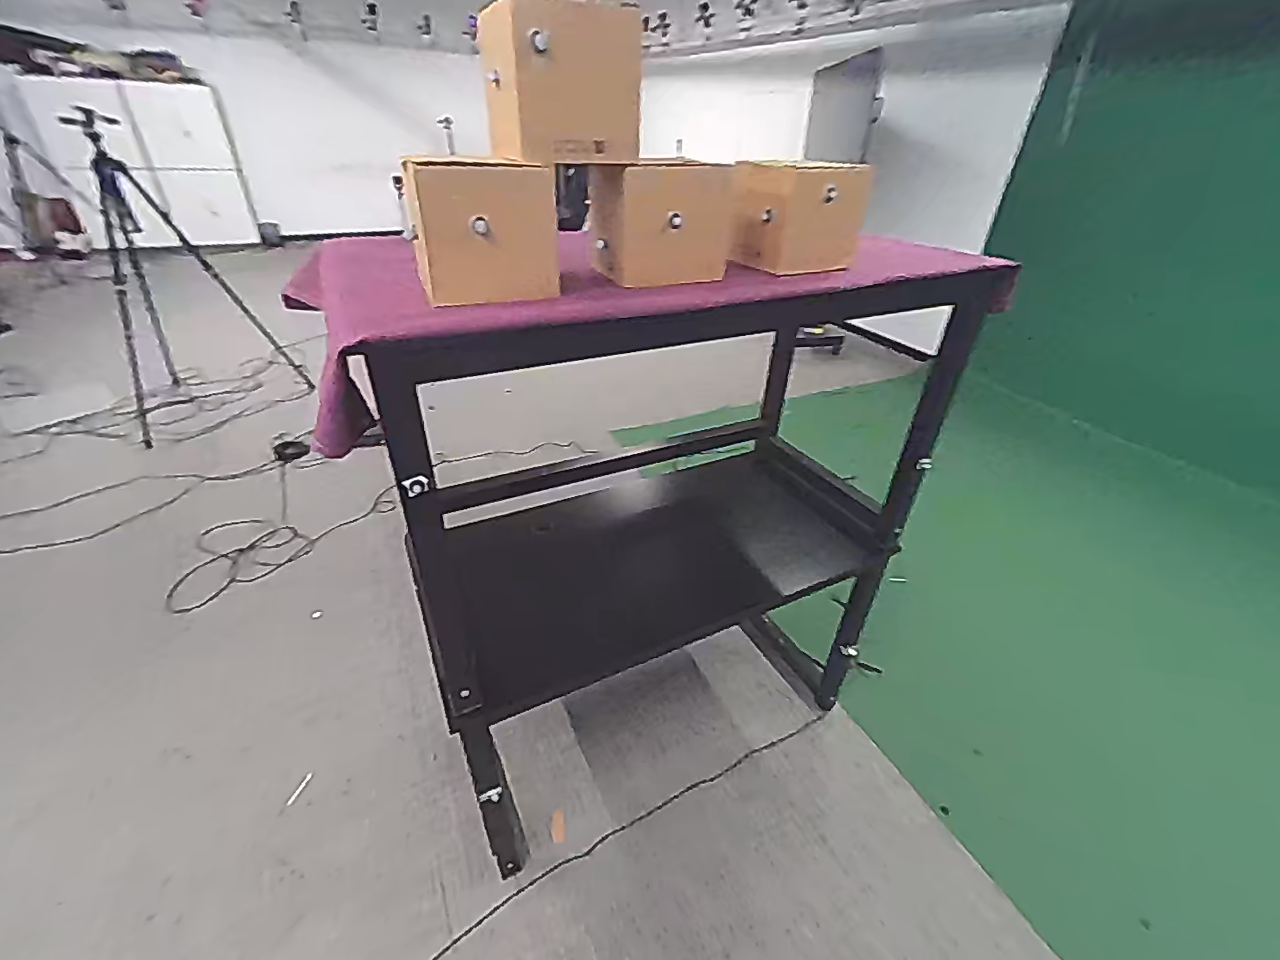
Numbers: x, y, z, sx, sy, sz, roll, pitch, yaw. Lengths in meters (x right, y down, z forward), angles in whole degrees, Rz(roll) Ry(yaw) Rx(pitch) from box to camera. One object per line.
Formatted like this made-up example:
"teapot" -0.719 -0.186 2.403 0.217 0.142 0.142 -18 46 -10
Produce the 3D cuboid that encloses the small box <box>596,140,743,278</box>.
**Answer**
"small box" 0.035 -0.424 0.846 0.179 0.176 0.168 -11 36 -19

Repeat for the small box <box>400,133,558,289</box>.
"small box" -0.216 -0.366 0.737 0.179 0.176 0.168 -10 37 -21

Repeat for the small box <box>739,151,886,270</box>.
"small box" 0.288 -0.473 0.947 0.179 0.176 0.168 -12 37 -22
